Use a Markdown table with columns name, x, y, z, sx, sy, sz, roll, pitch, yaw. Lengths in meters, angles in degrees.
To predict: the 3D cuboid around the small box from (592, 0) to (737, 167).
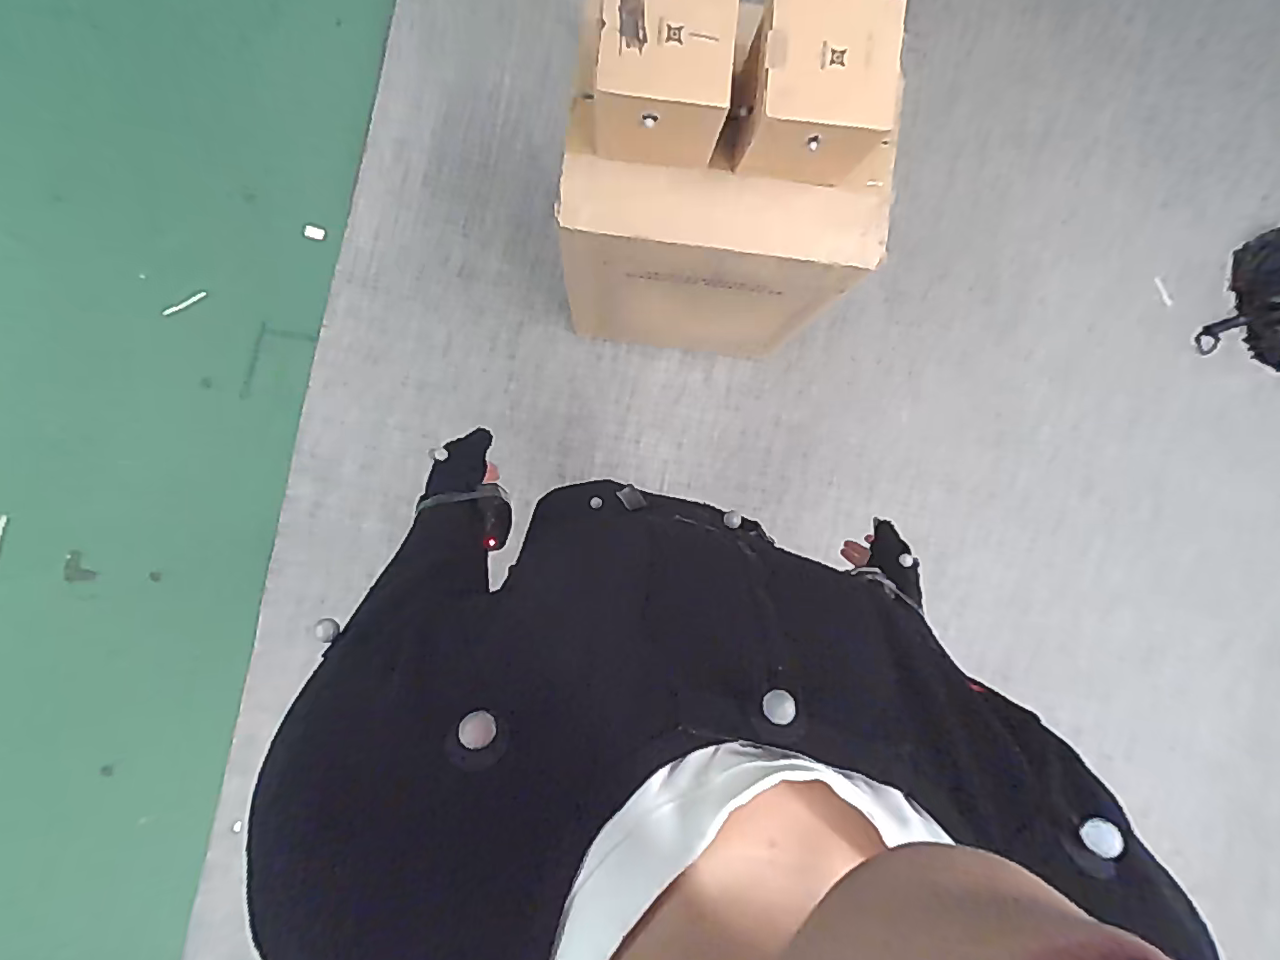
| name | x | y | z | sx | sy | sz | roll | pitch | yaw |
| --- | --- | --- | --- | --- | --- | --- | --- | --- | --- |
| small box | 0.028 | -0.571 | 0.763 | 0.179 | 0.176 | 0.168 | 5 | 95 | -5 |

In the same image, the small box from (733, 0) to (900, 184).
| name | x | y | z | sx | sy | sz | roll | pitch | yaw |
| --- | --- | --- | --- | --- | --- | --- | --- | --- | --- |
| small box | 0.241 | -0.553 | 0.780 | 0.179 | 0.176 | 0.168 | 3 | 96 | -6 |
